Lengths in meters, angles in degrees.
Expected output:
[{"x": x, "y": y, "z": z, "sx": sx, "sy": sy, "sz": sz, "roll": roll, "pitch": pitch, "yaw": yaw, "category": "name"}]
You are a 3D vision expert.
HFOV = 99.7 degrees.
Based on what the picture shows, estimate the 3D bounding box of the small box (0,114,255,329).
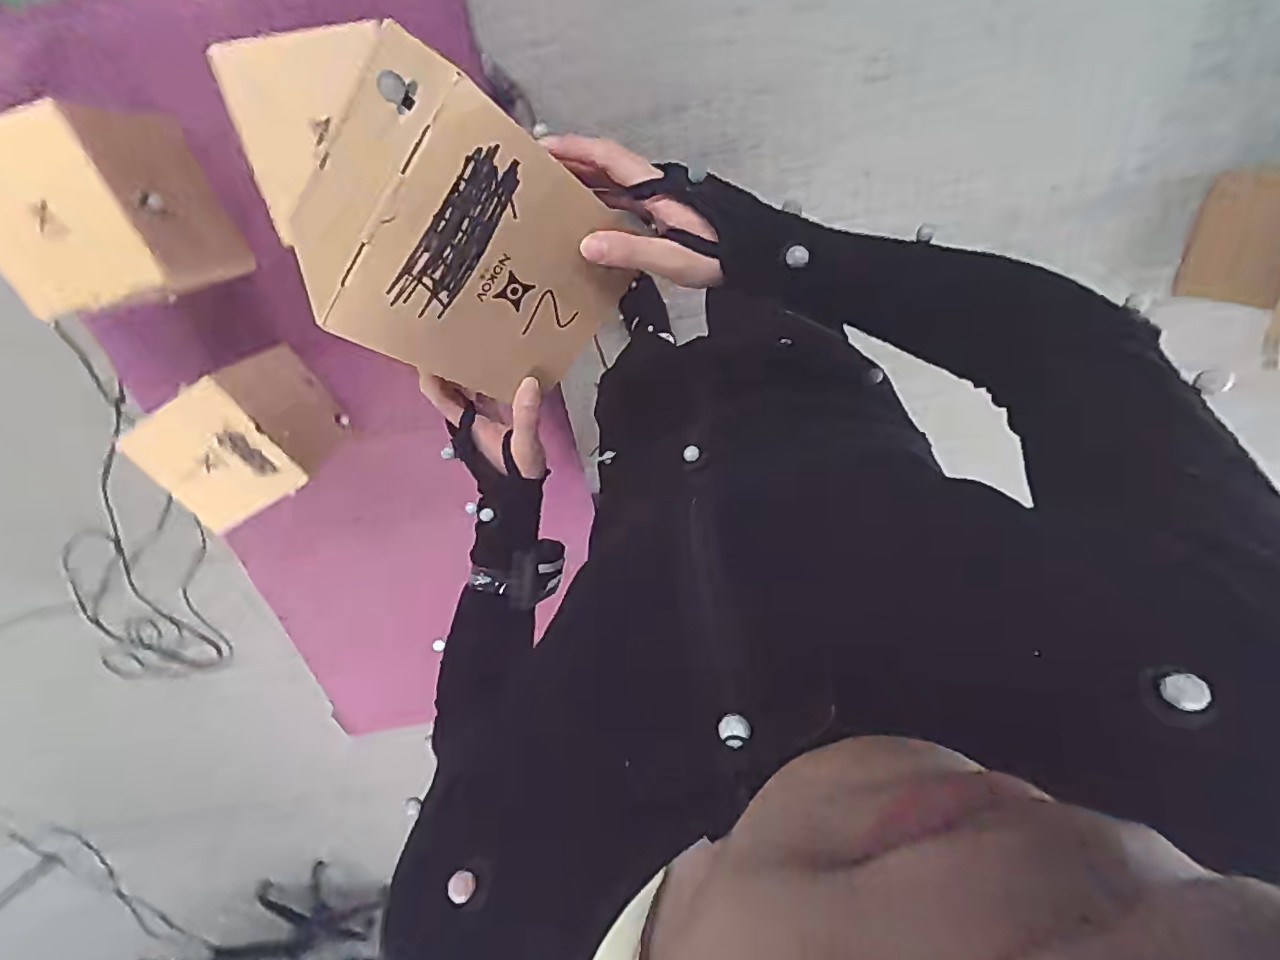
[{"x": -0.622, "y": -0.303, "z": 0.645, "sx": 0.168, "sy": 0.176, "sz": 0.179, "roll": -15, "pitch": 118, "yaw": 6, "category": "small box"}]

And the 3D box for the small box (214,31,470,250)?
[{"x": -0.312, "y": -0.368, "z": 0.612, "sx": 0.168, "sy": 0.176, "sz": 0.179, "roll": -6, "pitch": 118, "yaw": 4, "category": "small box"}]

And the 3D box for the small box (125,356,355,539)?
[{"x": -0.545, "y": -0.053, "z": 0.773, "sx": 0.179, "sy": 0.176, "sz": 0.168, "roll": -27, "pitch": 114, "yaw": 13, "category": "small box"}]
